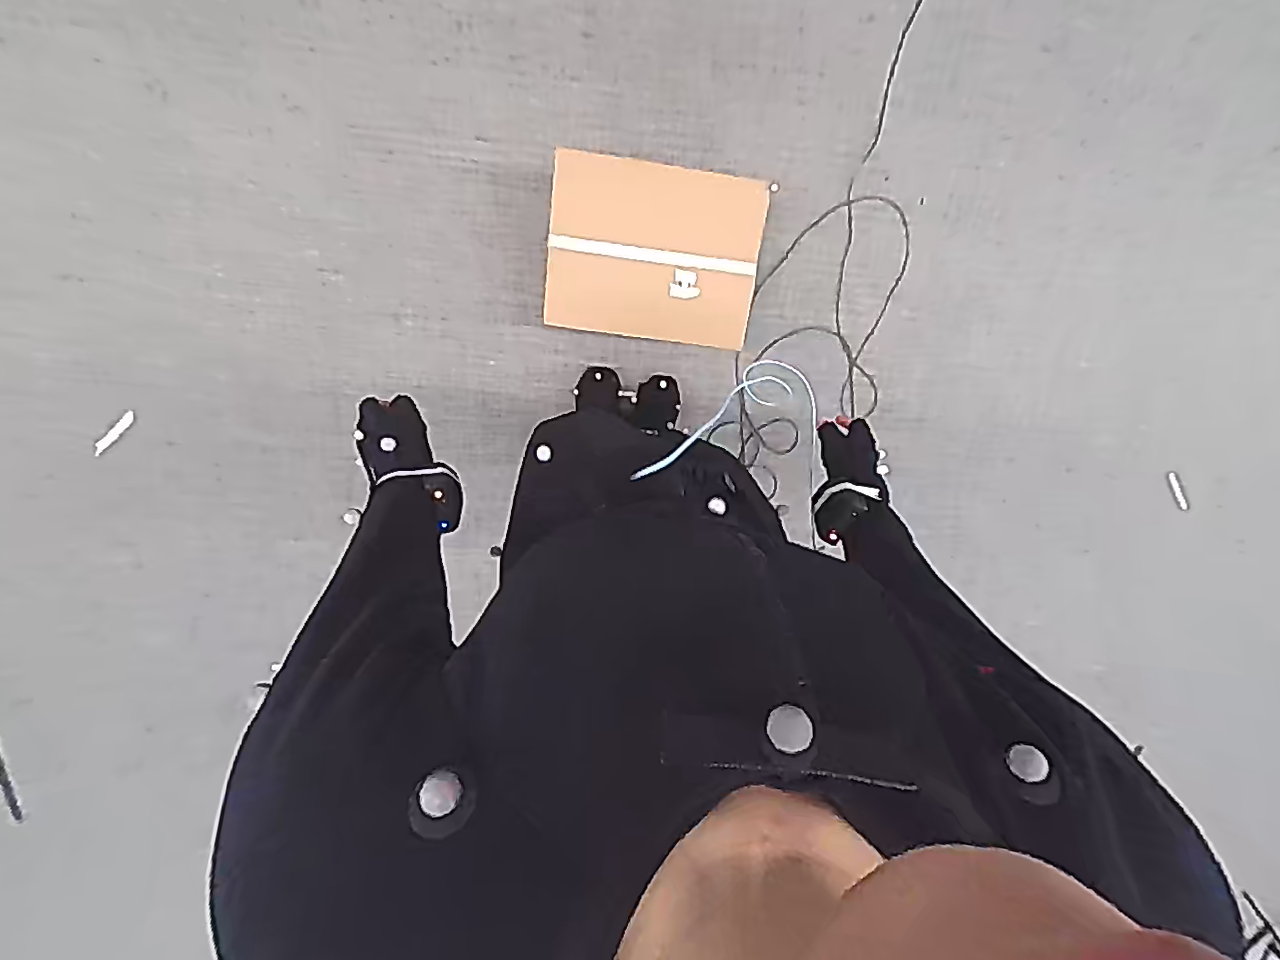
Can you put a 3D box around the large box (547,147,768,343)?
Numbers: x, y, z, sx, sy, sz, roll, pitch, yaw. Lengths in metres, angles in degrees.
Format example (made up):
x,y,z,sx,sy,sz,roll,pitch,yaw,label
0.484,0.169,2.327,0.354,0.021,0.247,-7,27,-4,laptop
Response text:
x,y,z,sx,sy,sz,roll,pitch,yaw,label
0.016,-0.488,1.185,0.408,0.320,0.320,6,108,-6,large box
